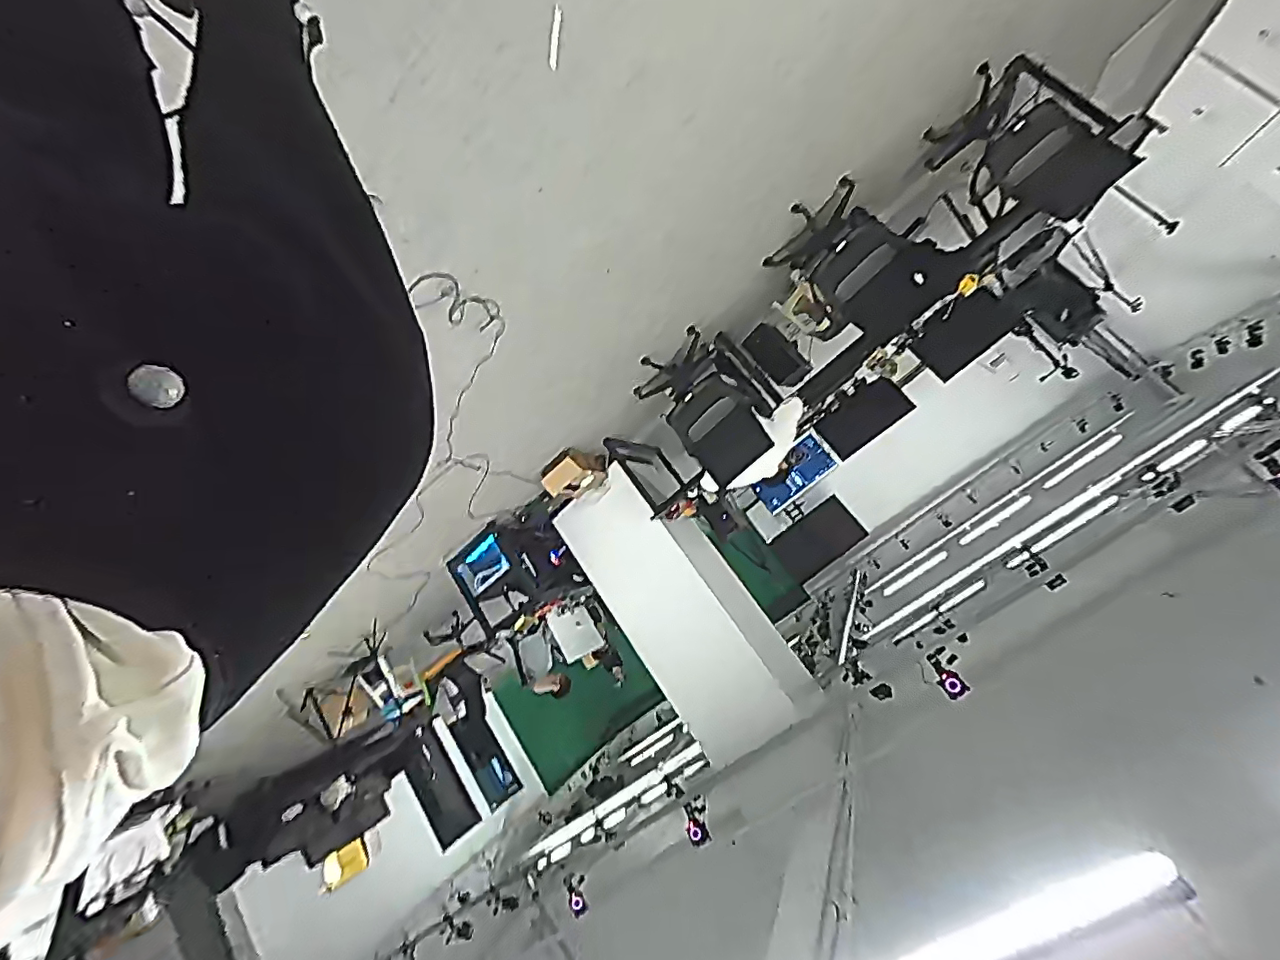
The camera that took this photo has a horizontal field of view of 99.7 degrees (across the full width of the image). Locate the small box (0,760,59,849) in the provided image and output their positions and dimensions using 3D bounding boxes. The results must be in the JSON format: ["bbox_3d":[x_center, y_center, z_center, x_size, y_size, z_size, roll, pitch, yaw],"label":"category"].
[{"bbox_3d":[-1.746,0.895,1.469,0.179,0.176,0.168,-40,163,19],"label":"small box"}]
